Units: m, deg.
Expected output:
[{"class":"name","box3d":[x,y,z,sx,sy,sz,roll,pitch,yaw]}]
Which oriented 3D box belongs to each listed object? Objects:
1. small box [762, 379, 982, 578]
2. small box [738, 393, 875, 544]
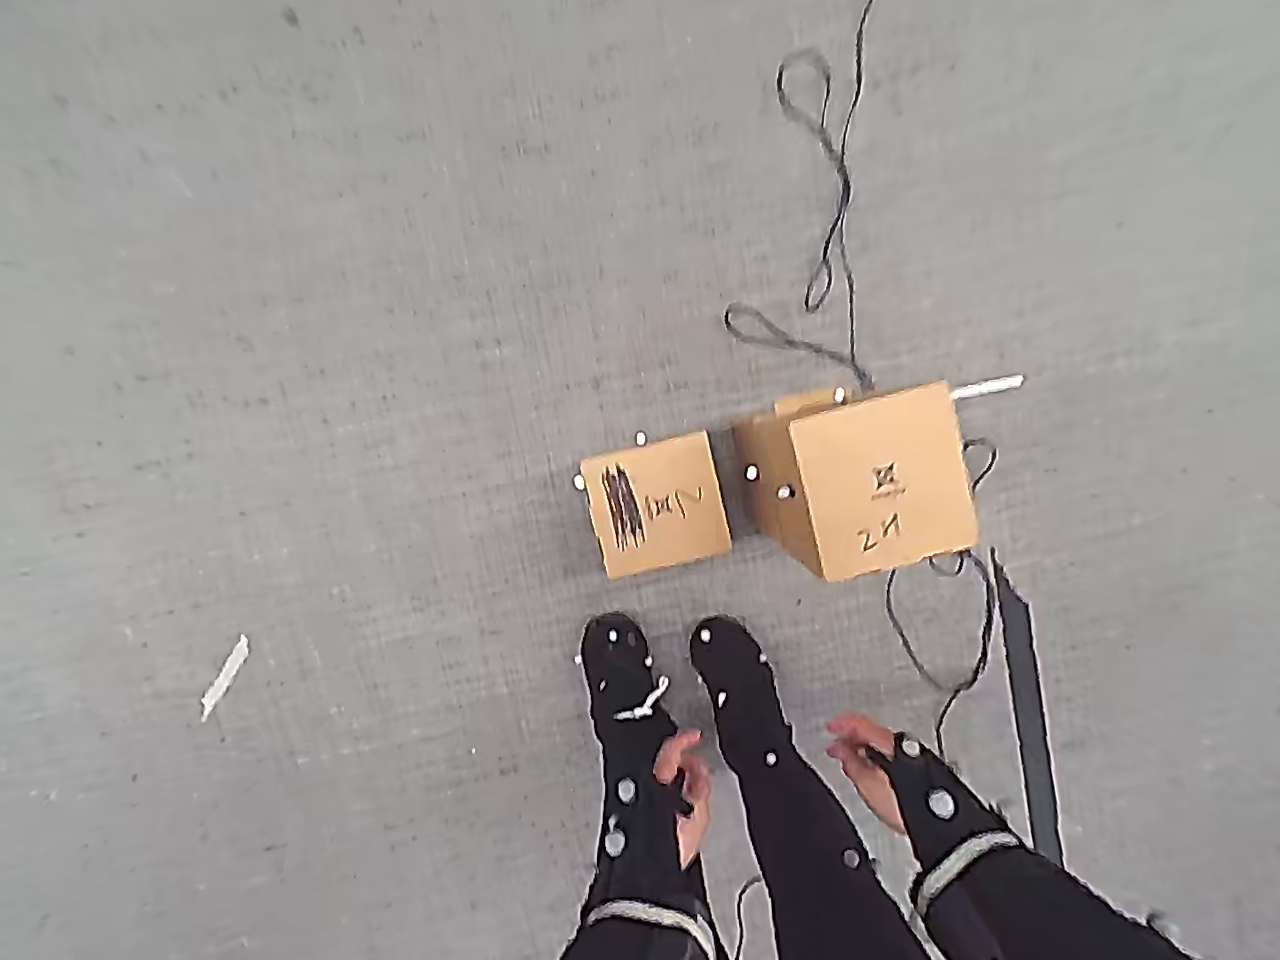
[{"class":"small box","box3d":[0.253,-0.006,0.630,0.168,0.176,0.179,-14,95,1]},{"class":"small box","box3d":[0.250,-0.020,0.794,0.168,0.176,0.179,-13,96,1]}]
